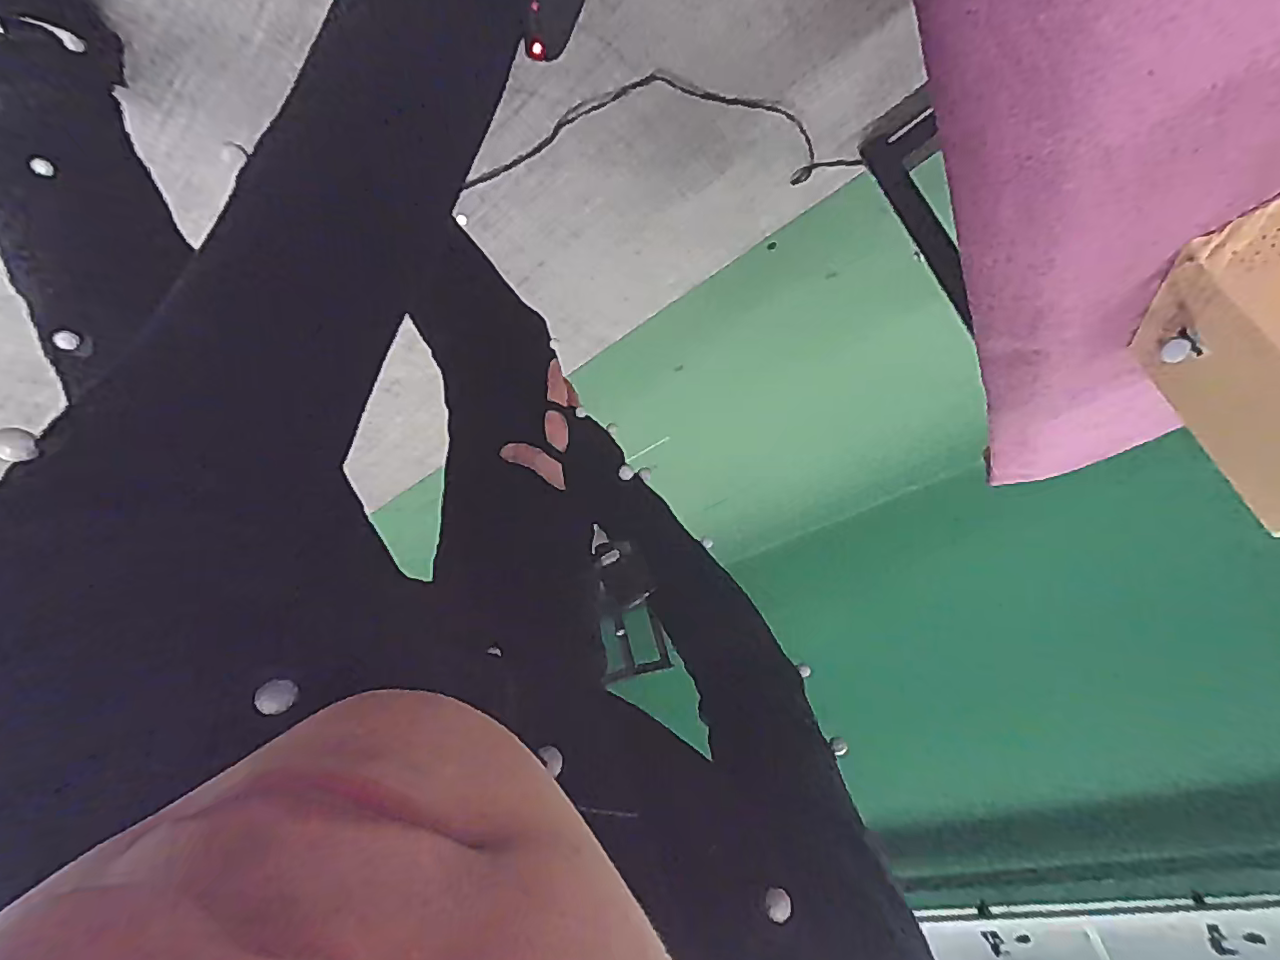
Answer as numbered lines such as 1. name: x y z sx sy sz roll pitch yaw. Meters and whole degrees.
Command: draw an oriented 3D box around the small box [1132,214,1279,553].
1. small box: 0.434 -0.074 0.294 0.179 0.176 0.168 -29 154 26
